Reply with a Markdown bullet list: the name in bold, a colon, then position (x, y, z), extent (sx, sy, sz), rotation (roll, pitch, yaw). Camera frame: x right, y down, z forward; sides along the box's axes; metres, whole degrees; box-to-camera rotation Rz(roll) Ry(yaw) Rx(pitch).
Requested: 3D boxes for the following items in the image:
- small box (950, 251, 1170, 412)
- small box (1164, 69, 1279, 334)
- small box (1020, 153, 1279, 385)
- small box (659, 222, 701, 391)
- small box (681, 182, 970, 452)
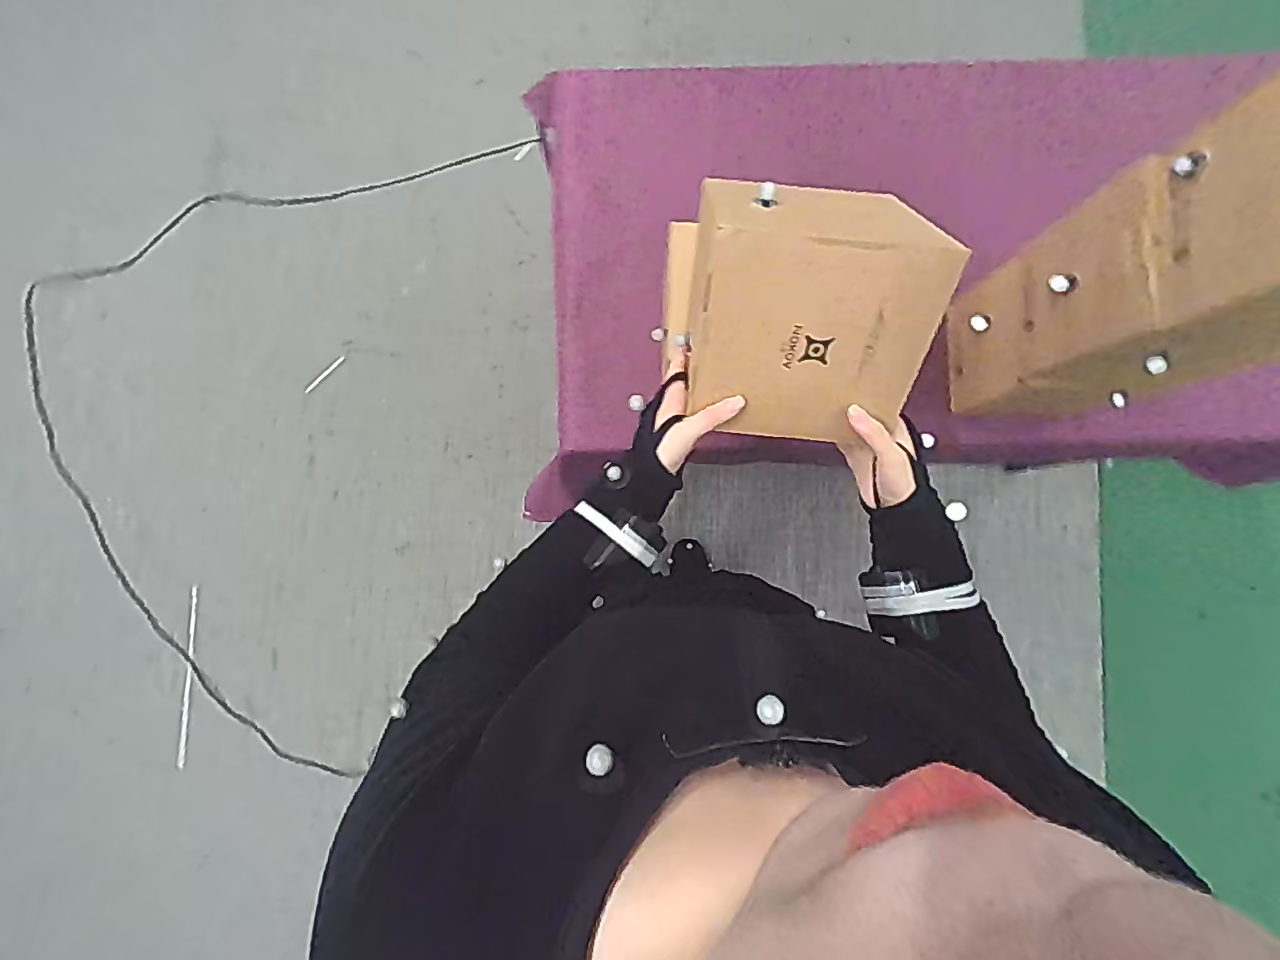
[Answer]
- **small box**: position (0.539, -0.187, 0.722), extent (0.179, 0.176, 0.168), rotation (0, 85, 0)
- **small box**: position (0.540, -0.213, 0.394), extent (0.179, 0.176, 0.168), rotation (4, 85, -1)
- **small box**: position (0.531, -0.201, 0.559), extent (0.179, 0.176, 0.168), rotation (4, 85, 1)
- **small box**: position (0.113, -0.217, 0.726), extent (0.168, 0.176, 0.179), rotation (2, 85, 0)
- **small box**: position (0.132, -0.147, 0.470), extent (0.179, 0.176, 0.168), rotation (6, 130, -1)
